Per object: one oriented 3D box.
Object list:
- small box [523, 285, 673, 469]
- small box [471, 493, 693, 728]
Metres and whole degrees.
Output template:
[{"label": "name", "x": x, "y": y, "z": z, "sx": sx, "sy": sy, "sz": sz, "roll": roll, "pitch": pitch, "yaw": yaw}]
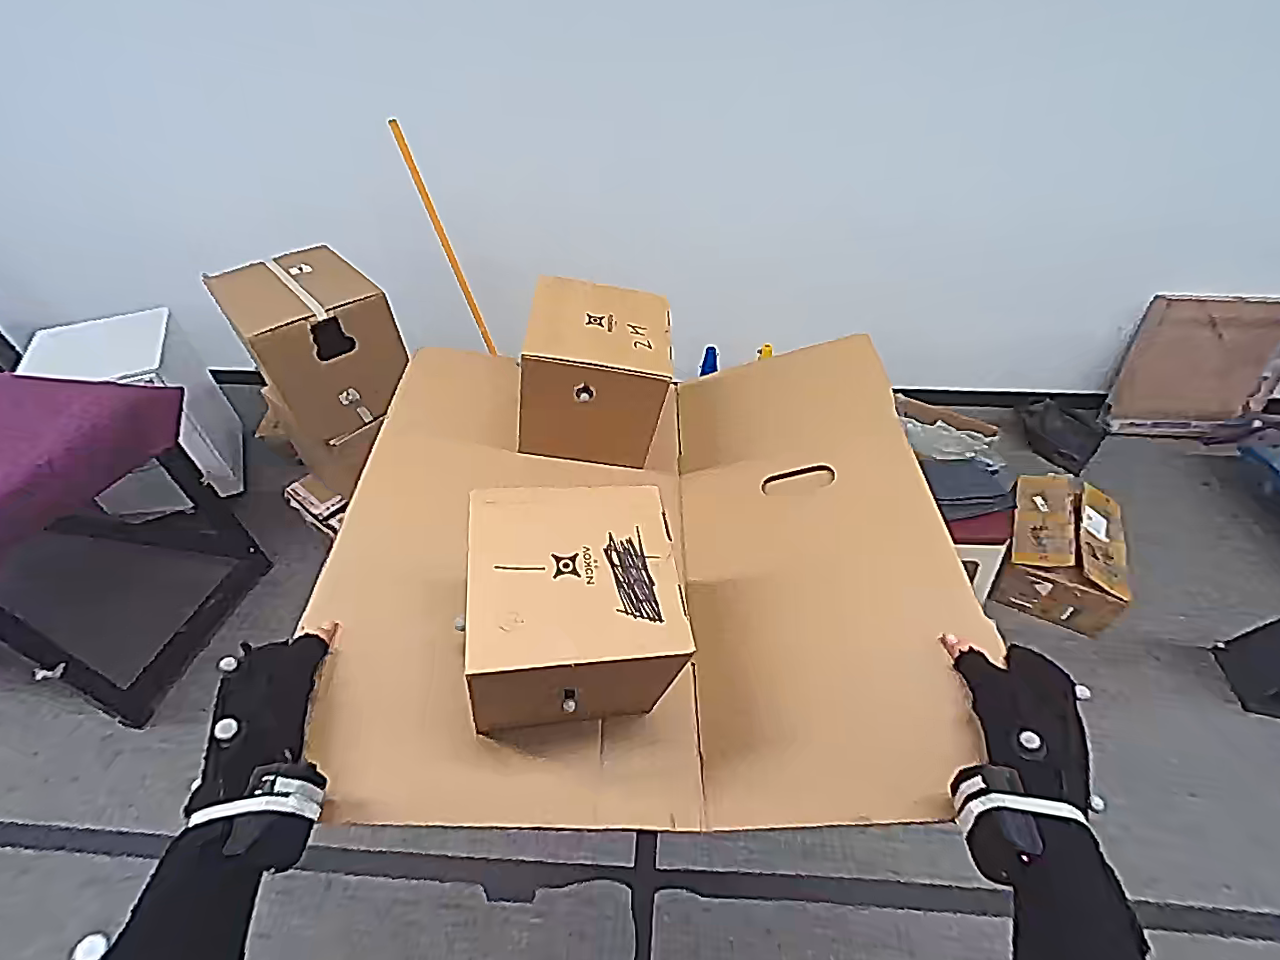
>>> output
[{"label": "small box", "x": -0.059, "y": -0.132, "z": 0.731, "sx": 0.179, "sy": 0.176, "sz": 0.168, "roll": 8, "pitch": 51, "yaw": -9}, {"label": "small box", "x": -0.066, "y": 0.127, "z": 0.522, "sx": 0.179, "sy": 0.176, "sz": 0.168, "roll": 0, "pitch": 53, "yaw": -14}]
